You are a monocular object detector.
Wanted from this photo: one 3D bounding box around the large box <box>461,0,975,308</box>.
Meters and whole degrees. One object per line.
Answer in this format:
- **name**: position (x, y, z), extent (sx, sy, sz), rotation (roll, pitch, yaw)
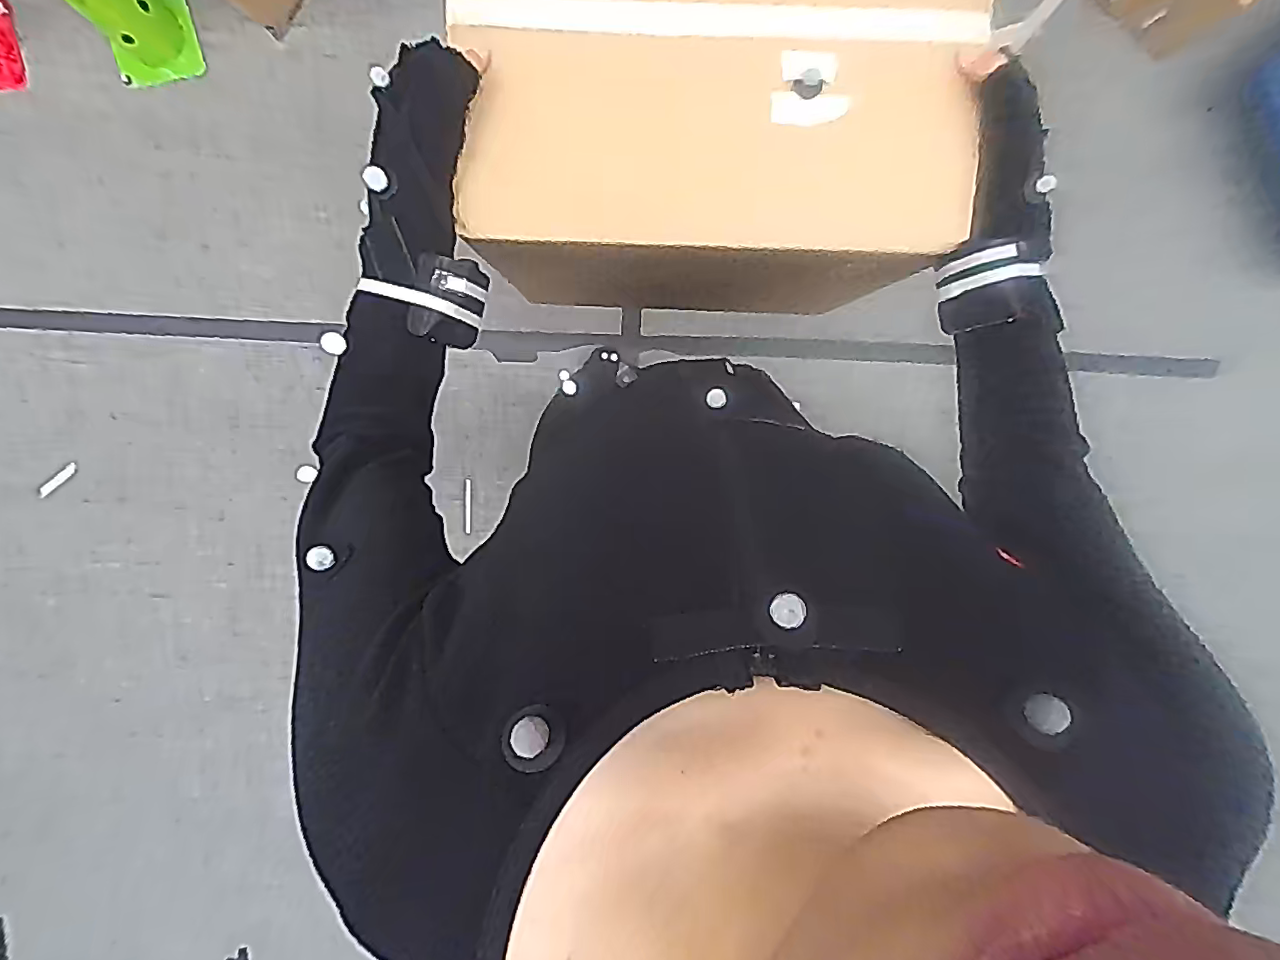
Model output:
- **large box**: position (0.055, -0.367, 0.565), extent (0.408, 0.320, 0.320), rotation (1, 98, -2)
